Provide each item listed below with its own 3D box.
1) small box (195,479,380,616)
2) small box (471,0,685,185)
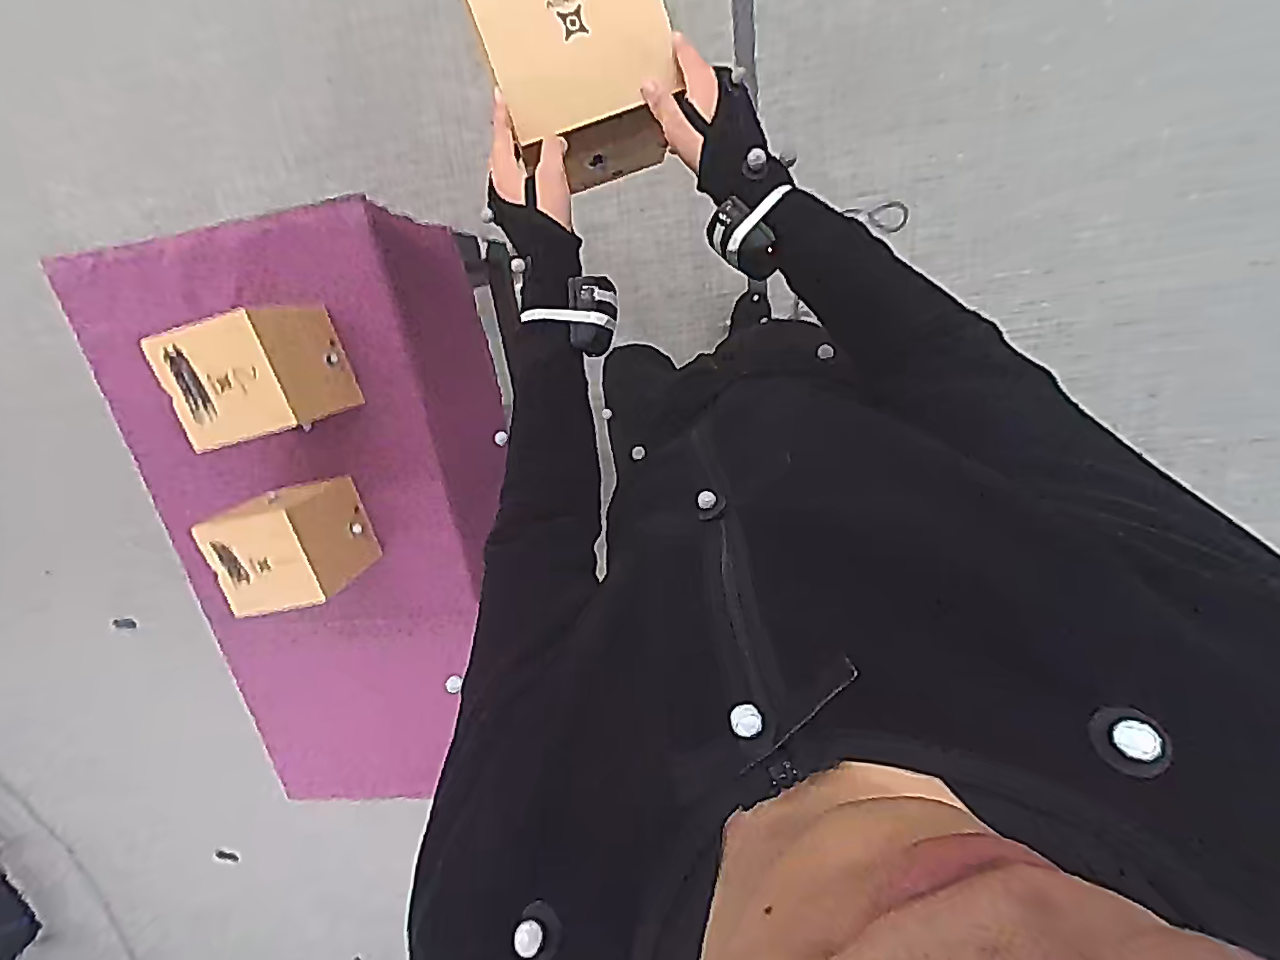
[{"bbox_3d":[-0.597,0.111,0.940,0.179,0.176,0.168,-11,108,10],"label":"small box"},{"bbox_3d":[-0.066,-0.432,0.559,0.168,0.176,0.179,-20,101,-3],"label":"small box"}]
